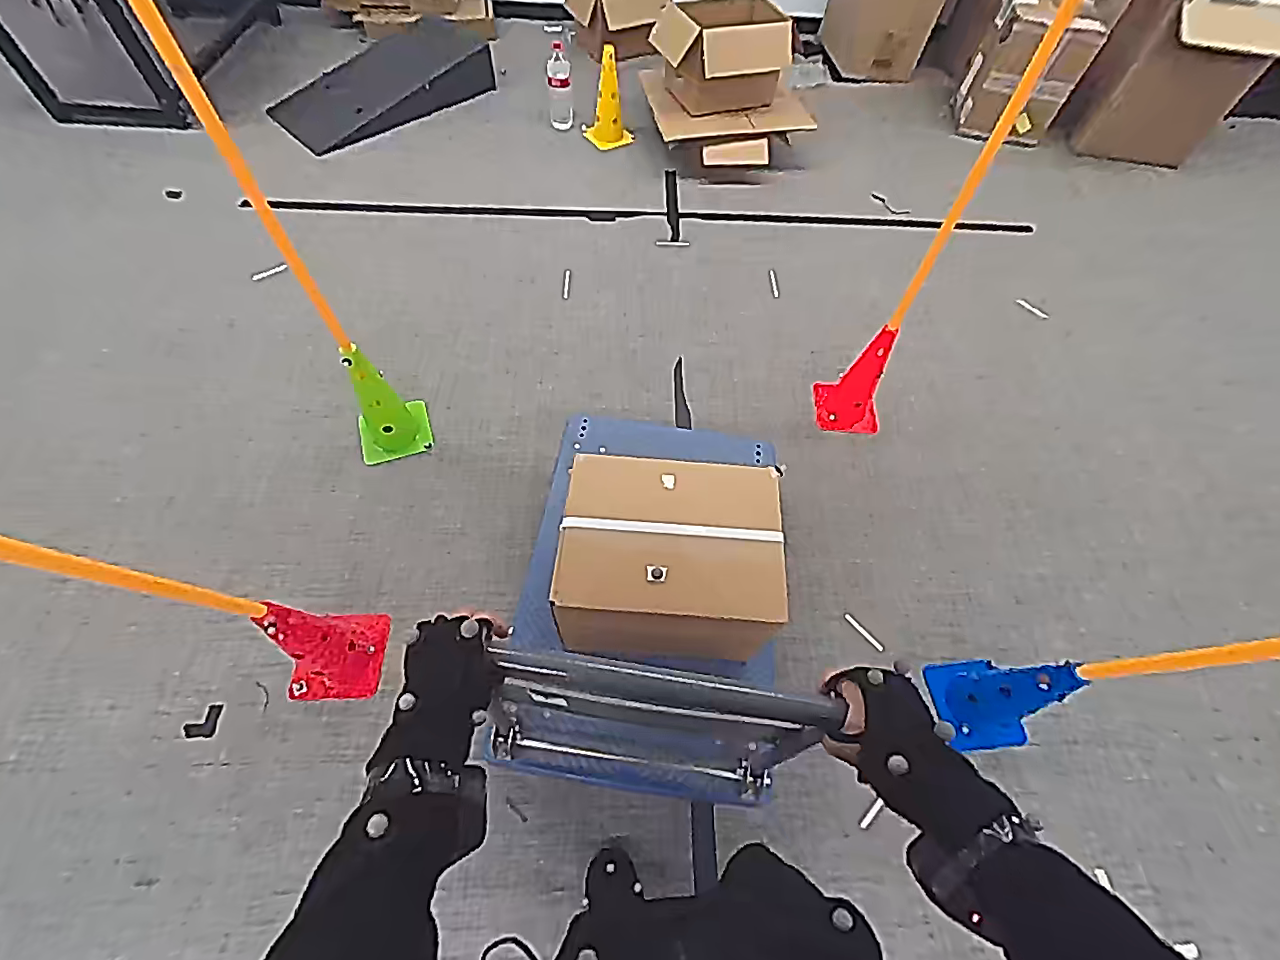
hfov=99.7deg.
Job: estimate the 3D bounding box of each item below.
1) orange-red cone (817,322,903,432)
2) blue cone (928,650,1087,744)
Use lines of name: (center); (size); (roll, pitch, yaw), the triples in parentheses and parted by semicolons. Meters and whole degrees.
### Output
orange-red cone: (0.694, -0.332, 1.631); (0.199, 0.360, 0.198); (7, 59, 0)
blue cone: (0.830, 0.451, 1.185); (0.193, 0.380, 0.192); (-2, 58, -5)
